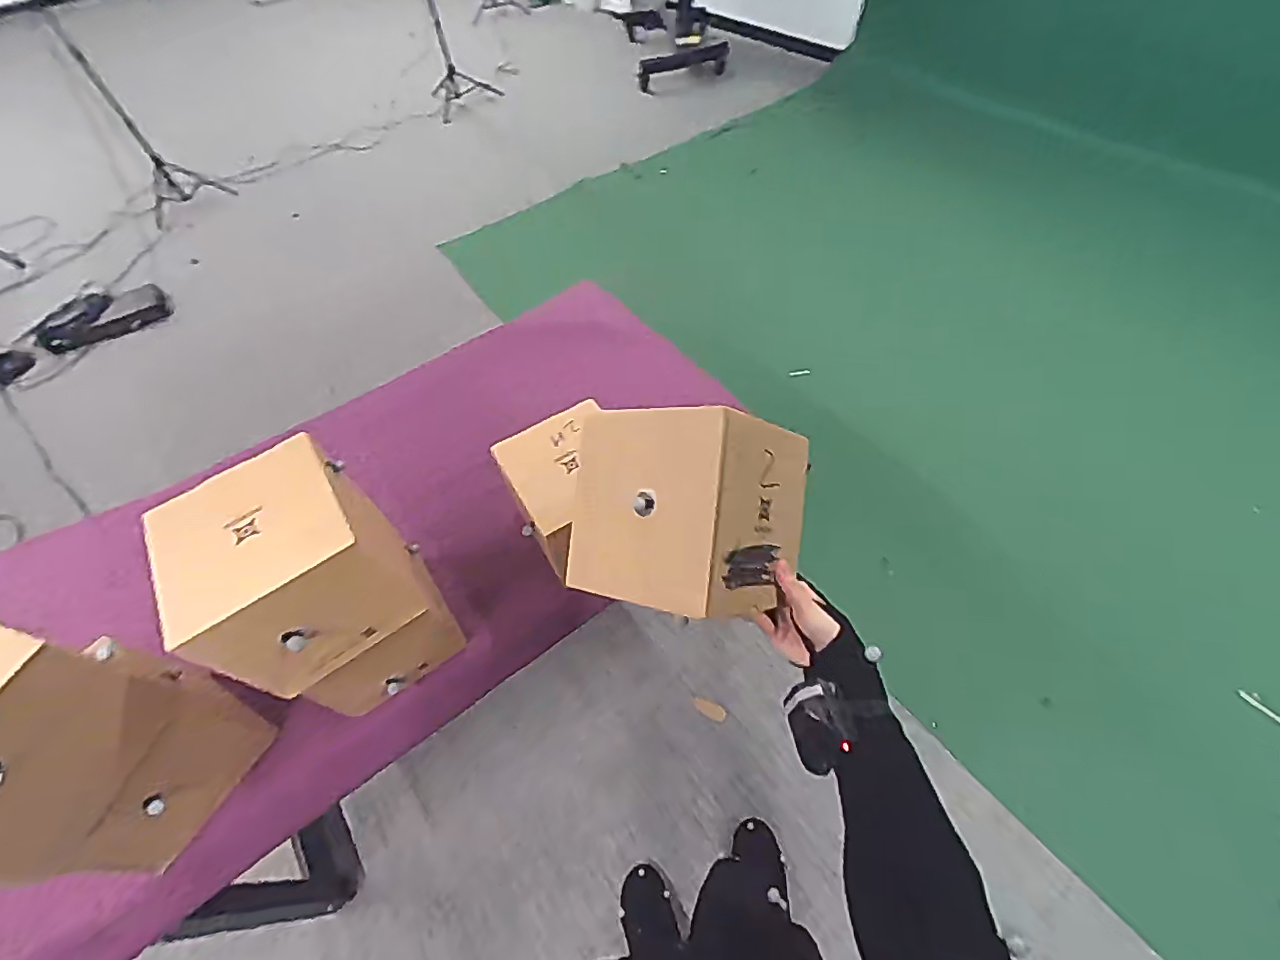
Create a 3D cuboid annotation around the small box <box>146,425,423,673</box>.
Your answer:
[{"bbox_3d":[-0.363,0.082,0.576,0.168,0.176,0.179,-33,58,-16],"label":"small box"}]

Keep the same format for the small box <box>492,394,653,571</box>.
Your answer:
[{"bbox_3d":[-0.091,0.013,0.801,0.168,0.176,0.179,-28,58,-15],"label":"small box"}]

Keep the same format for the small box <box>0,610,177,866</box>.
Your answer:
[{"bbox_3d":[-0.592,0.223,0.488,0.168,0.176,0.179,12,55,12],"label":"small box"}]

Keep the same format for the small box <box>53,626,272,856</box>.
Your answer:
[{"bbox_3d":[-0.590,0.307,0.631,0.168,0.176,0.179,22,60,18],"label":"small box"}]

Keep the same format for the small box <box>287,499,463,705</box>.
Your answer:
[{"bbox_3d":[-0.364,0.165,0.716,0.168,0.176,0.179,-32,58,-16],"label":"small box"}]
